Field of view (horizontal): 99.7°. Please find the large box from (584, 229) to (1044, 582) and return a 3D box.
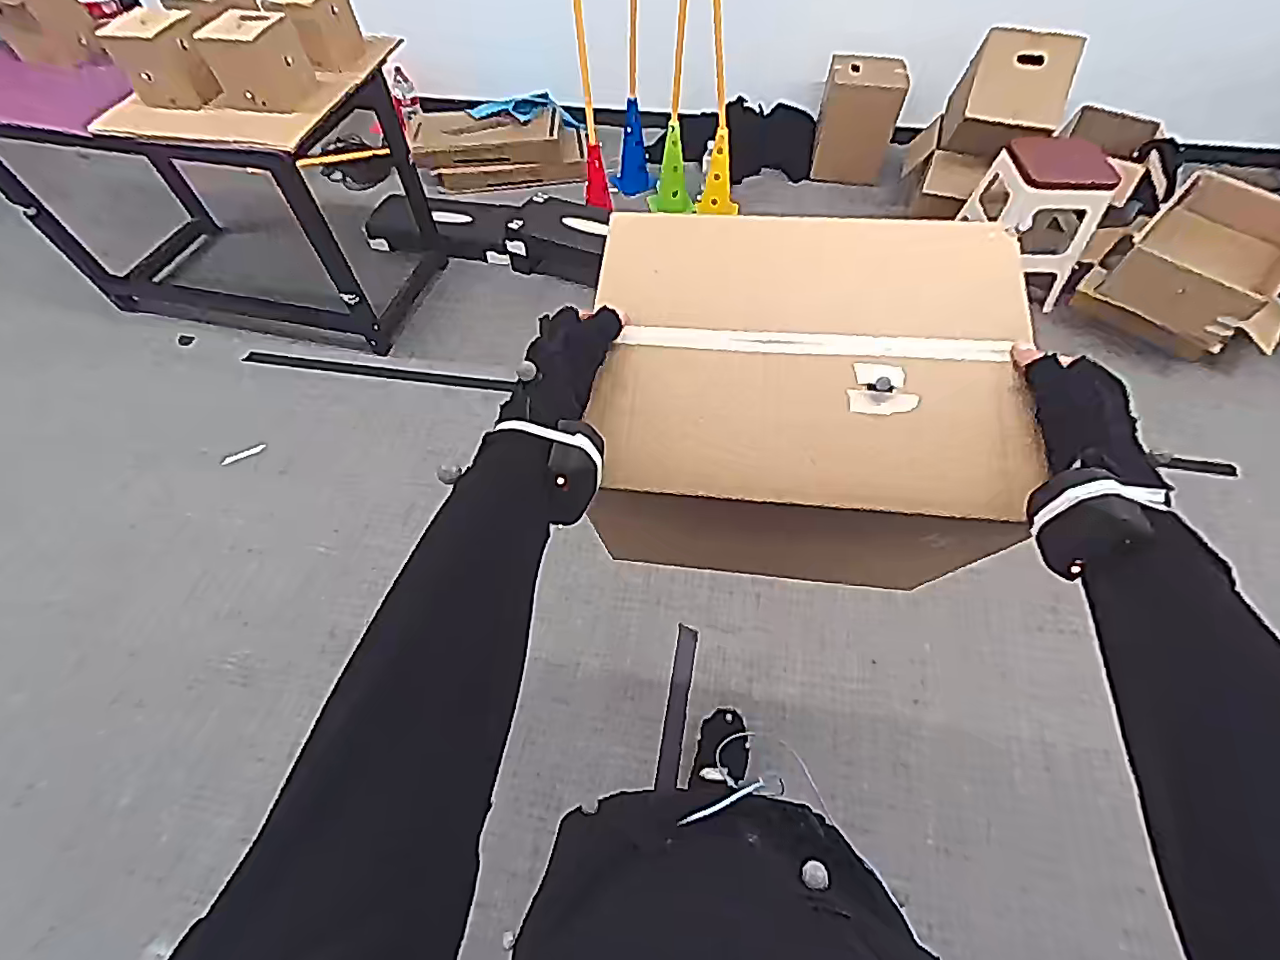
[{"bbox_3d":[0.169,-0.069,0.662,0.408,0.320,0.320,5,71,7],"label":"large box"}]
